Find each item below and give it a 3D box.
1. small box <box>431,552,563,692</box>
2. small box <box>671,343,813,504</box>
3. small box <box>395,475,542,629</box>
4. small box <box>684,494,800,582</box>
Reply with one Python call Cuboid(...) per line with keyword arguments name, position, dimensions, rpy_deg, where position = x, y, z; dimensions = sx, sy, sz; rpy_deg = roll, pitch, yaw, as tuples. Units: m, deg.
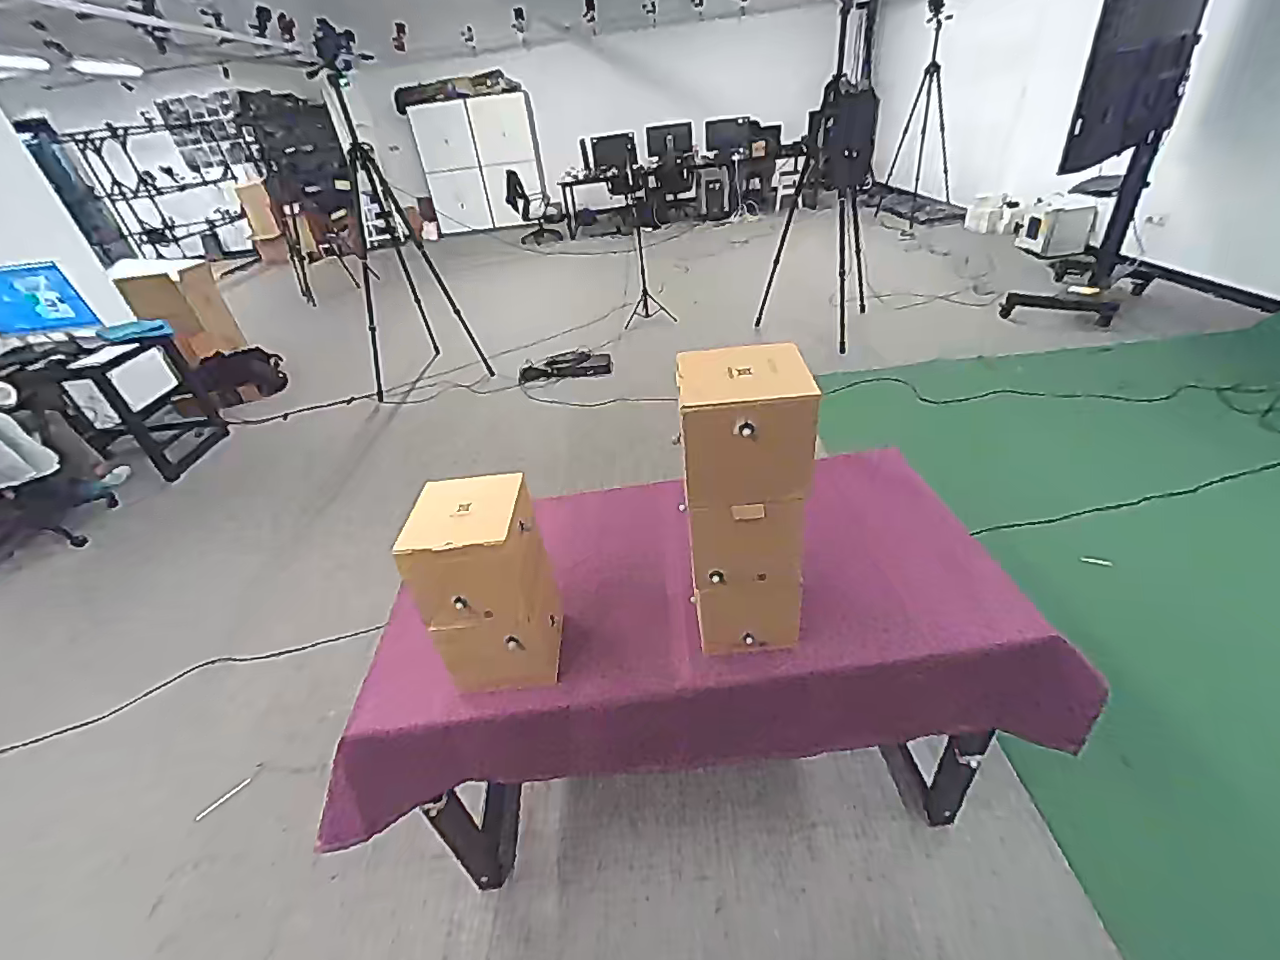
Cuboid(name="small box", position=(-0.239, 0.252, 0.960), dimensions=(0.179, 0.176, 0.168), rpy_deg=(-7, 34, 2))
Cuboid(name="small box", position=(0.140, -0.079, 0.774), dimensions=(0.179, 0.176, 0.168), rpy_deg=(-4, 37, 6))
Cuboid(name="small box", position=(-0.262, 0.114, 0.876), dimensions=(0.168, 0.176, 0.179), rpy_deg=(-6, 35, 3))
Cuboid(name="small box", position=(0.159, 0.050, 0.873), dimensions=(0.168, 0.176, 0.179), rpy_deg=(-6, 34, 5))
